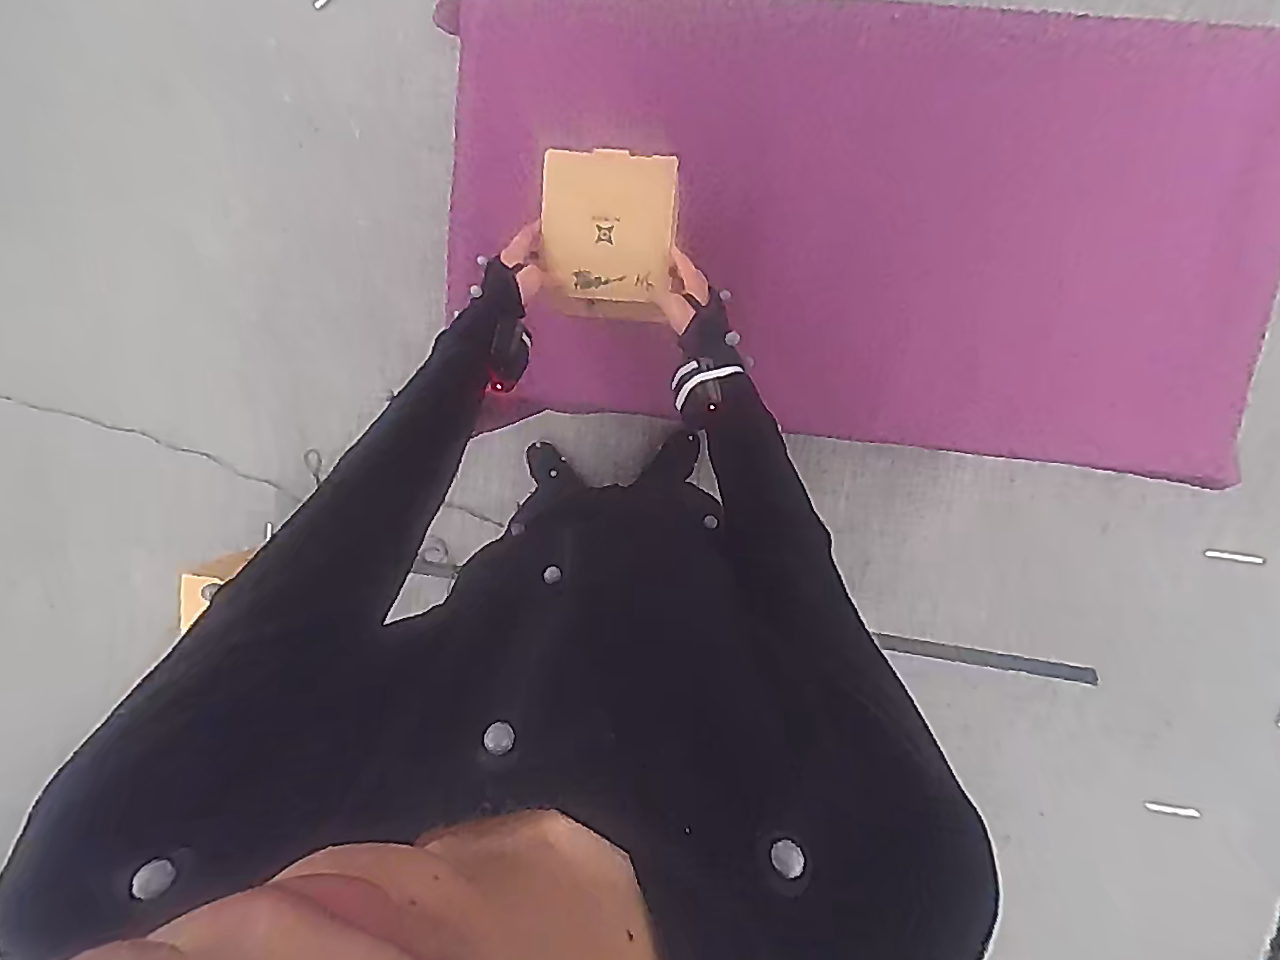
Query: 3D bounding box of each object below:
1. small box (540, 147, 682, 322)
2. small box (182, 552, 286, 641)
[{"bbox_3d":[-0.033,-0.327,0.752,0.168,0.176,0.179,6,99,3],"label":"small box"},{"bbox_3d":[-1.123,0.318,1.506,0.168,0.176,0.179,10,100,3],"label":"small box"}]
